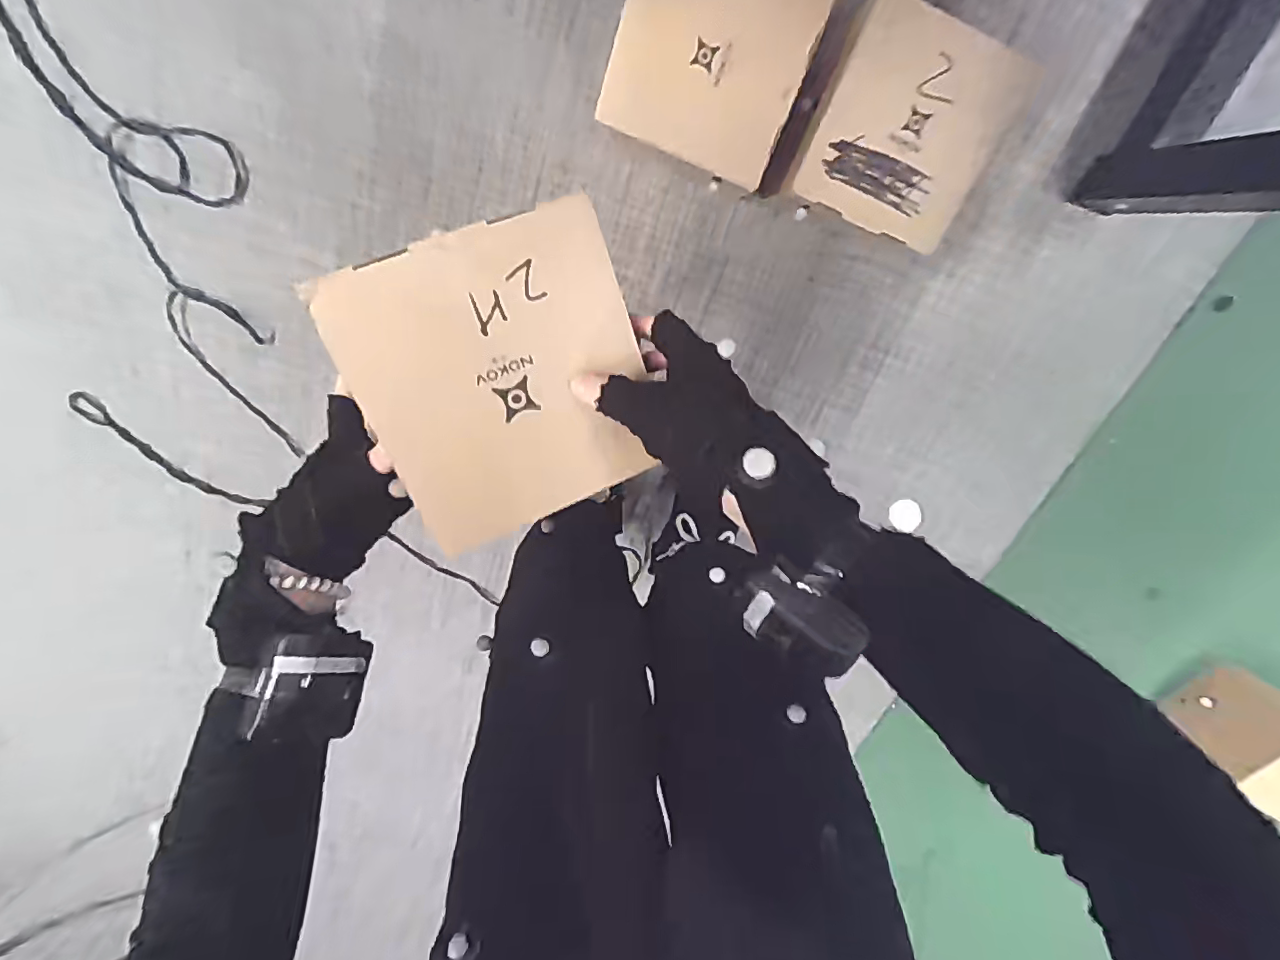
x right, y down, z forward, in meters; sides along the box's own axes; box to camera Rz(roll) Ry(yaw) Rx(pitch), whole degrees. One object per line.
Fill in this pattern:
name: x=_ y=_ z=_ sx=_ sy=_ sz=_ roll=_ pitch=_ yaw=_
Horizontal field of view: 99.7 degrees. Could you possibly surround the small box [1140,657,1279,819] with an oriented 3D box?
small box: x=1.069 y=0.448 z=0.956 sx=0.179 sy=0.176 sz=0.168 roll=28 pitch=113 yaw=-10
